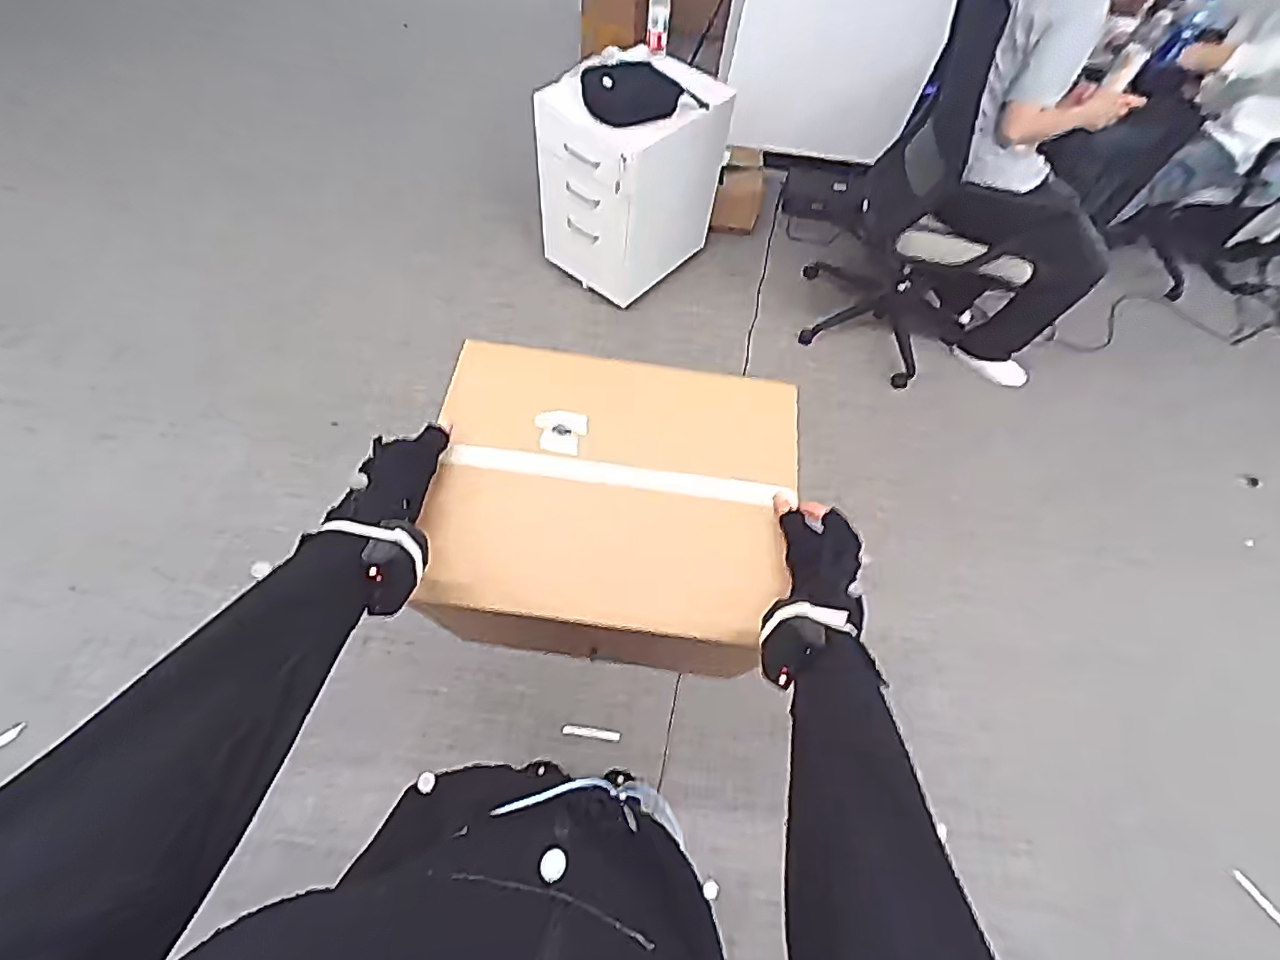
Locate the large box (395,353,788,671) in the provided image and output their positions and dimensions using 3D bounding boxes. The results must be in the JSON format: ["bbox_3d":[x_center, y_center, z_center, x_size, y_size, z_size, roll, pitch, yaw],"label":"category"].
[{"bbox_3d":[-0.037,0.066,0.737,0.408,0.320,0.320,8,64,1],"label":"large box"}]
